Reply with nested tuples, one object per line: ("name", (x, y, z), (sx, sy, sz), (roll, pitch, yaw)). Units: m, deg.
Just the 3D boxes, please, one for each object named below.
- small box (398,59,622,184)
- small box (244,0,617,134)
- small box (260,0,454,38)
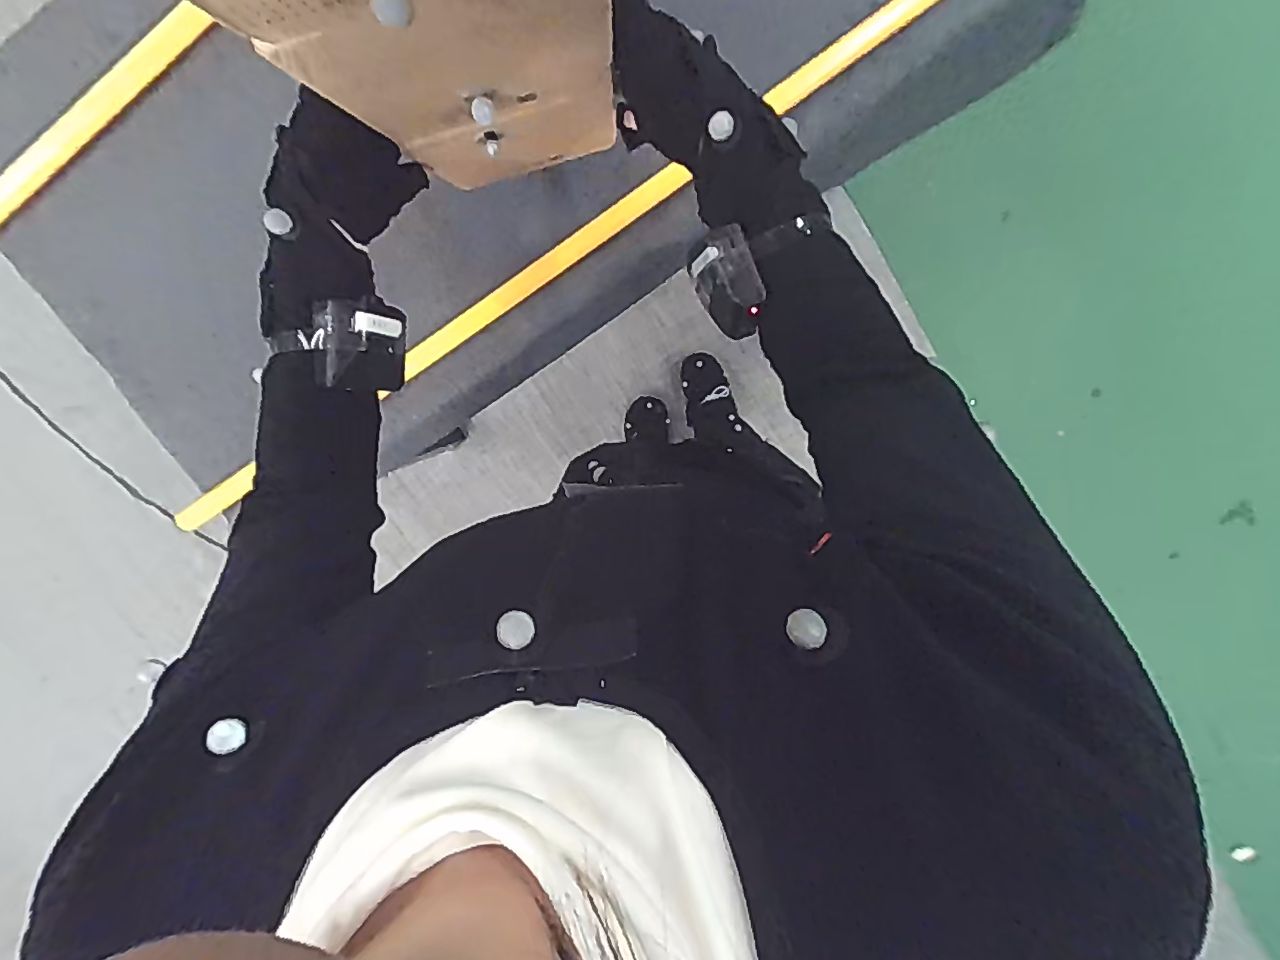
("small box", (-0.115, -0.369, 0.442), (0.168, 0.176, 0.179), (-14, 109, 4))
("small box", (-0.110, -0.317, 0.285), (0.168, 0.176, 0.179), (-13, 110, 3))
("small box", (-0.100, -0.262, 0.133), (0.168, 0.176, 0.179), (-12, 111, 4))
